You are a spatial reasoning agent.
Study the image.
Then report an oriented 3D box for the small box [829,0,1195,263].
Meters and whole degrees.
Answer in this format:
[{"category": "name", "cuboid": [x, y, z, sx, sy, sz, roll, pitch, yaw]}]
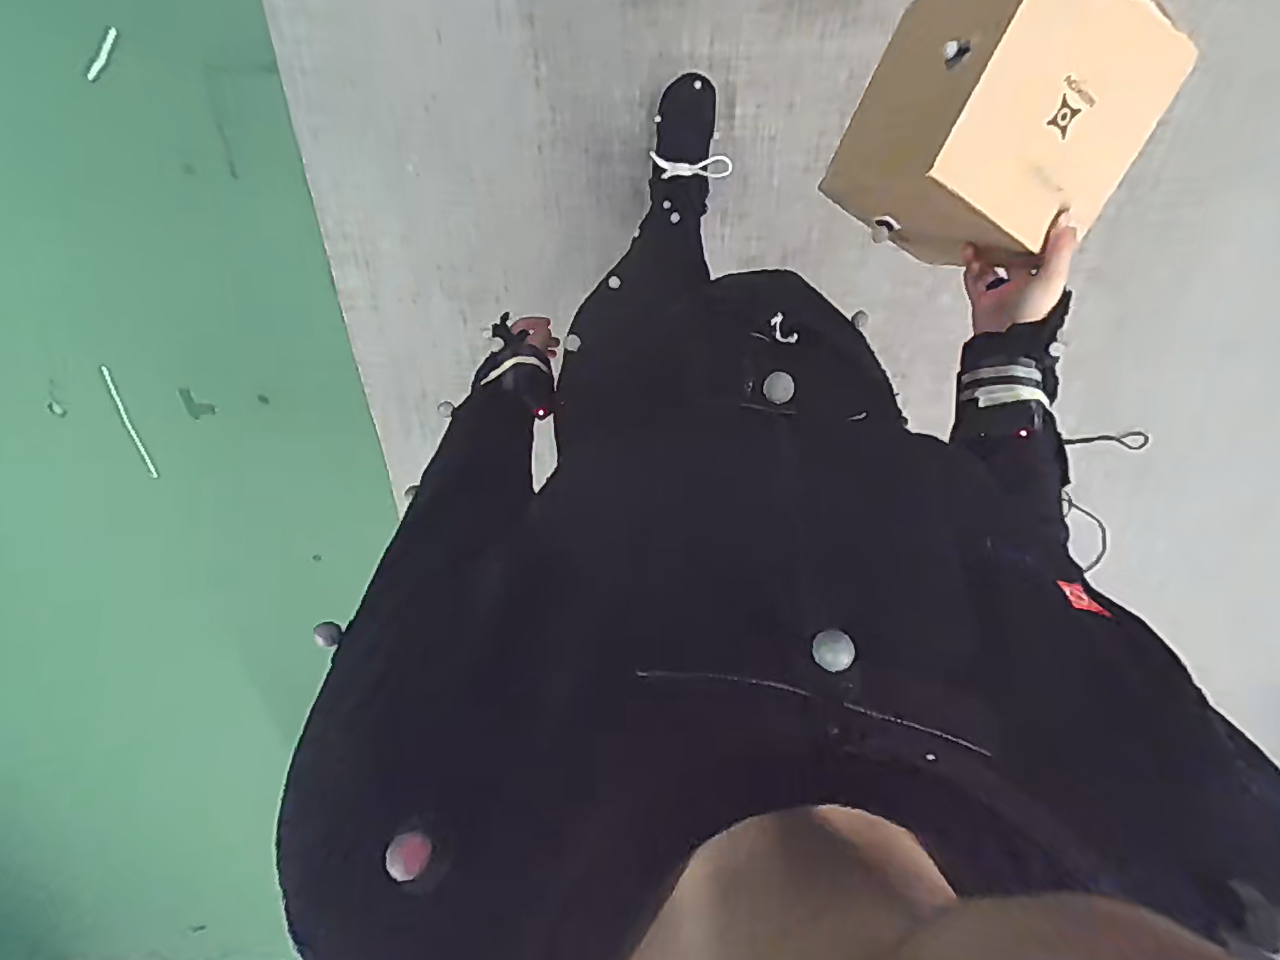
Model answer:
[{"category": "small box", "cuboid": [0.303, -0.314, 0.480, 0.168, 0.176, 0.179, 19, 106, -21]}]
